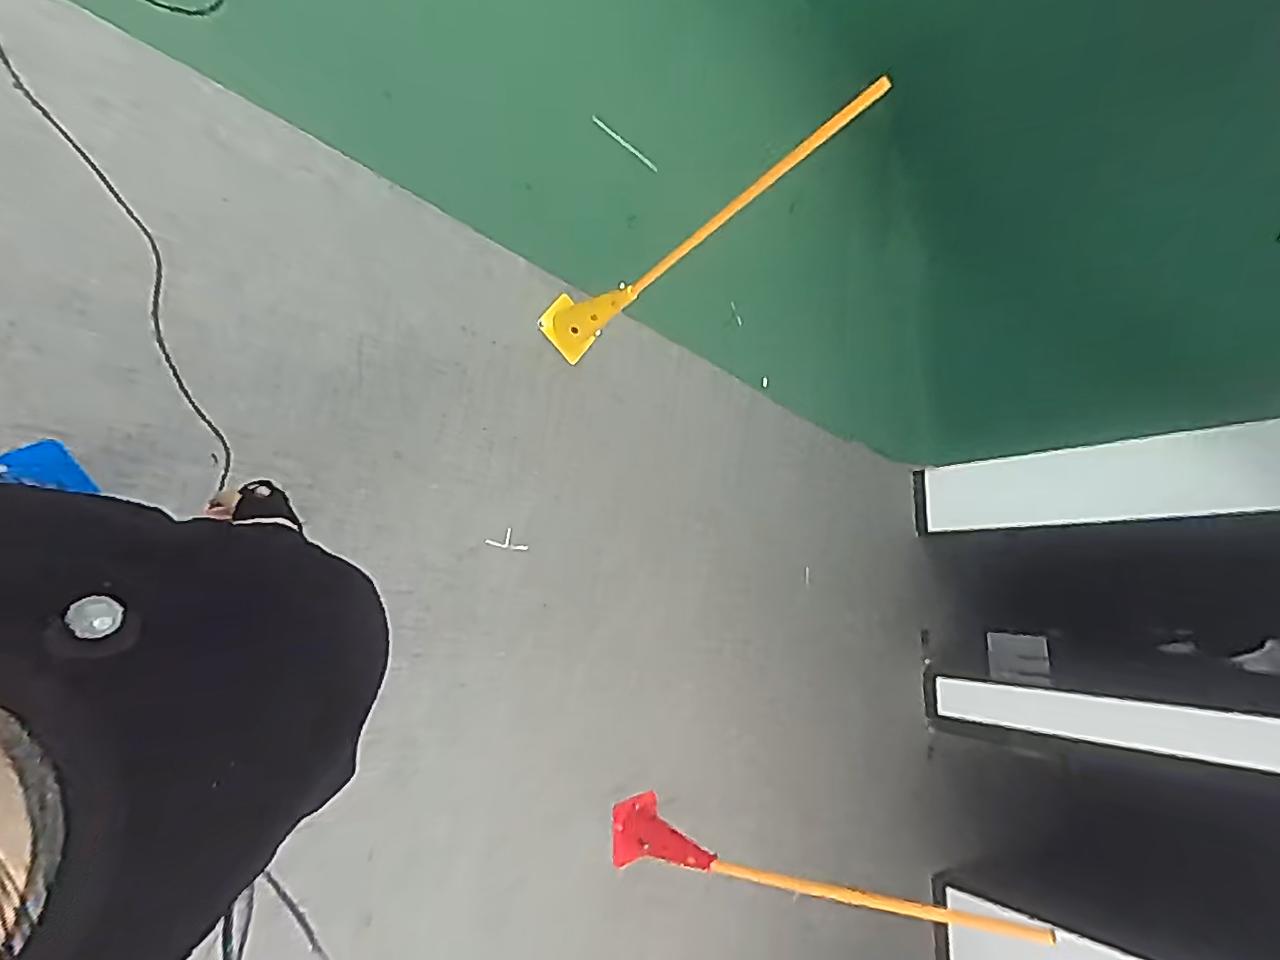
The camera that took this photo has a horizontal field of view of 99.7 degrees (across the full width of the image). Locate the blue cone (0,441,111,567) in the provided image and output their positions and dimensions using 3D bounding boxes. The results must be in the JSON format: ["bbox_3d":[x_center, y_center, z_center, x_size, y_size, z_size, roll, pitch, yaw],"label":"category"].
[{"bbox_3d":[-1.047,0.032,0.896,0.193,0.380,0.192,-41,111,-37],"label":"blue cone"}]
